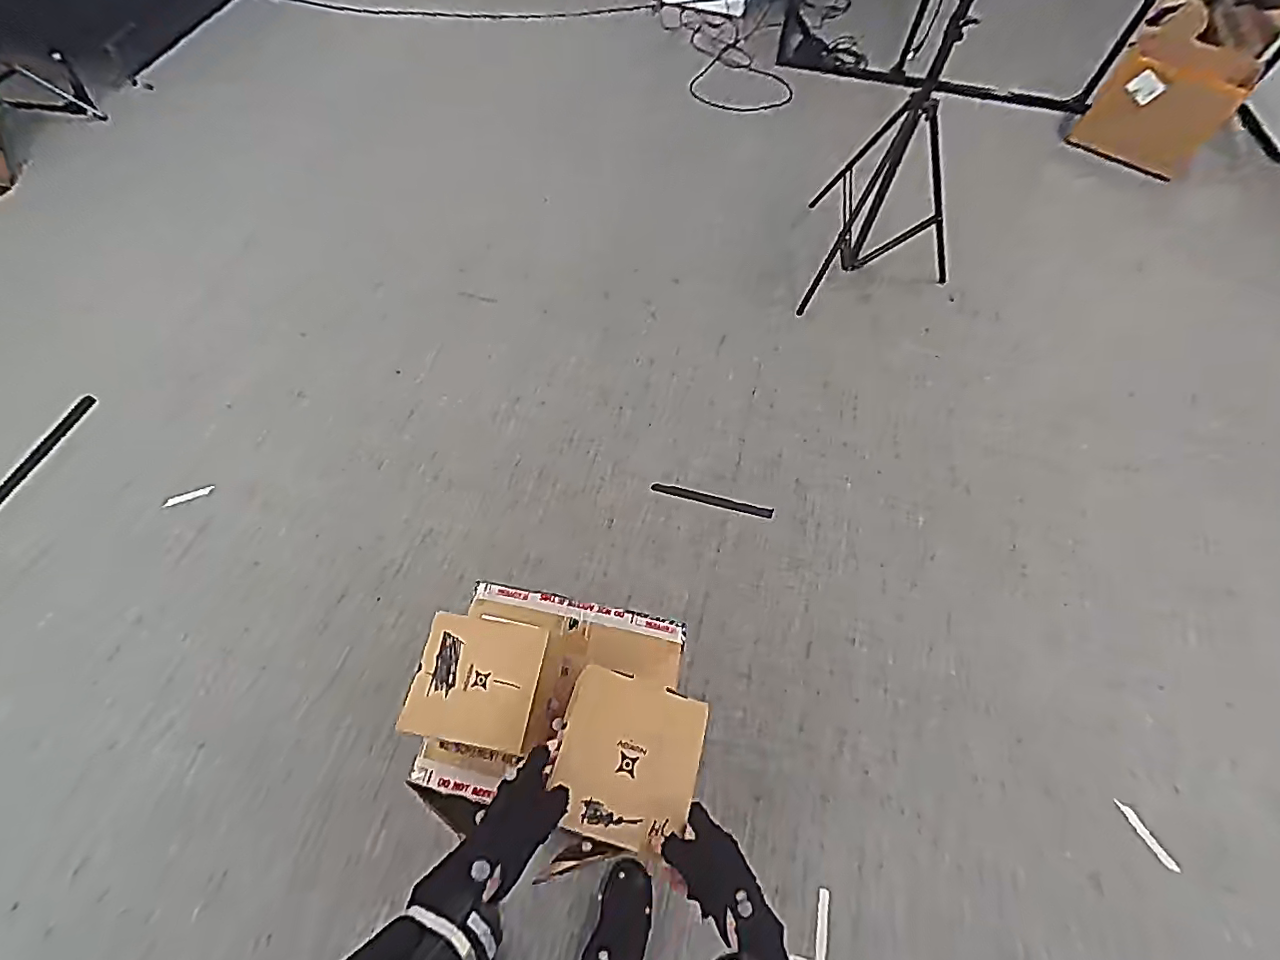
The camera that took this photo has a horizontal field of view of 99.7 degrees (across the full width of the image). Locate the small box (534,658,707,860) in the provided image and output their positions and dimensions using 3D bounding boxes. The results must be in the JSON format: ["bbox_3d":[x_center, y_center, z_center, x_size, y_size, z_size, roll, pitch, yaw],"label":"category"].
[{"bbox_3d":[-0.031,0.359,0.699,0.168,0.176,0.179,20,57,-2],"label":"small box"}]

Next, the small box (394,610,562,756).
[{"bbox_3d":[-0.228,0.311,0.815,0.179,0.176,0.168,8,61,5],"label":"small box"}]
